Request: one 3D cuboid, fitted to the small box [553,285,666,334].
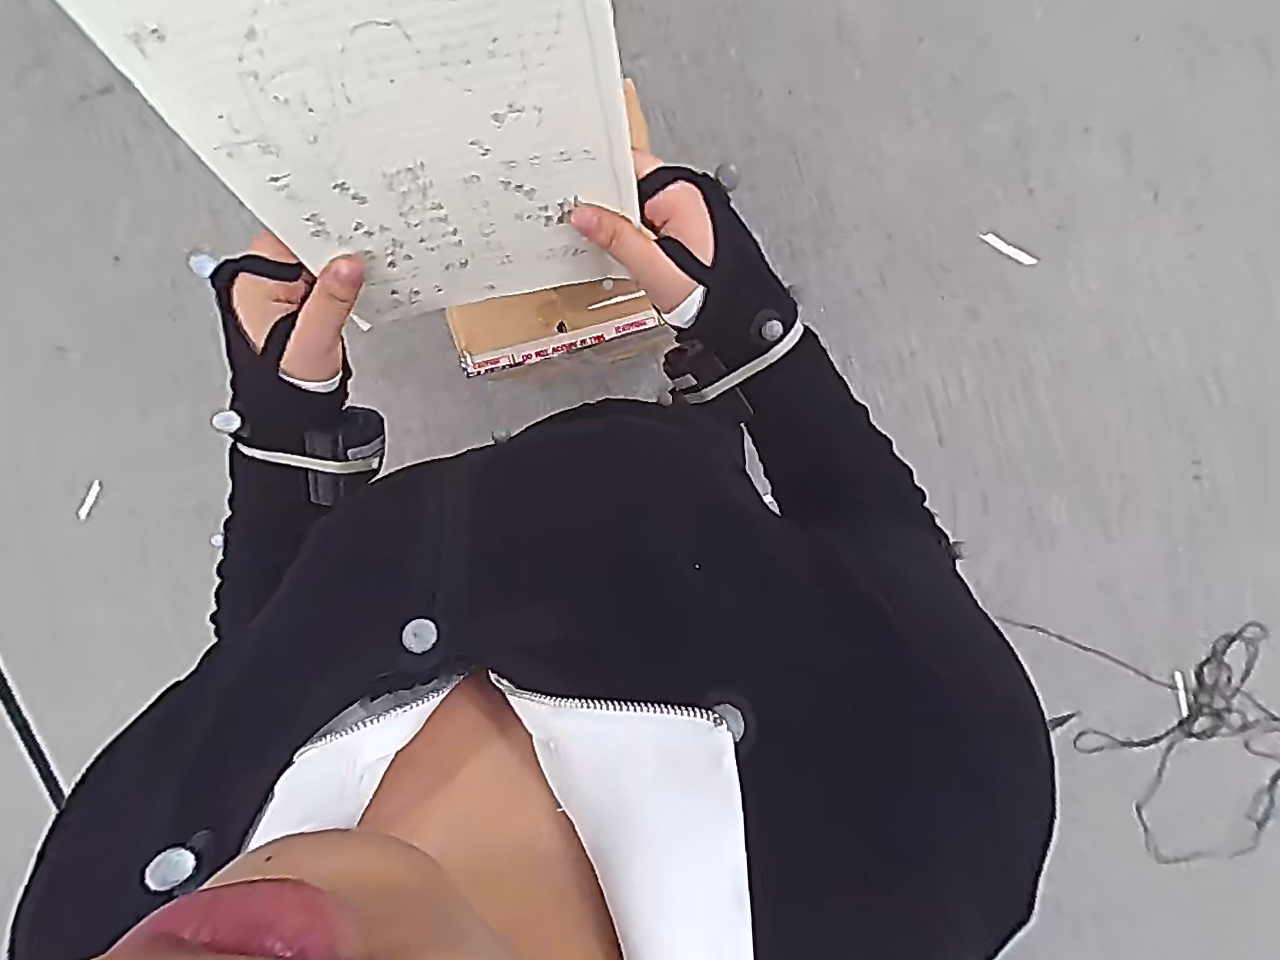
[{"bbox_3d":[-0.068,-0.348,0.875,0.179,0.176,0.168,-18,98,3],"label":"small box"}]

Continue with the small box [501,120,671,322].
[{"bbox_3d":[-0.064,-0.323,0.713,0.168,0.176,0.179,-15,100,2],"label":"small box"}]
